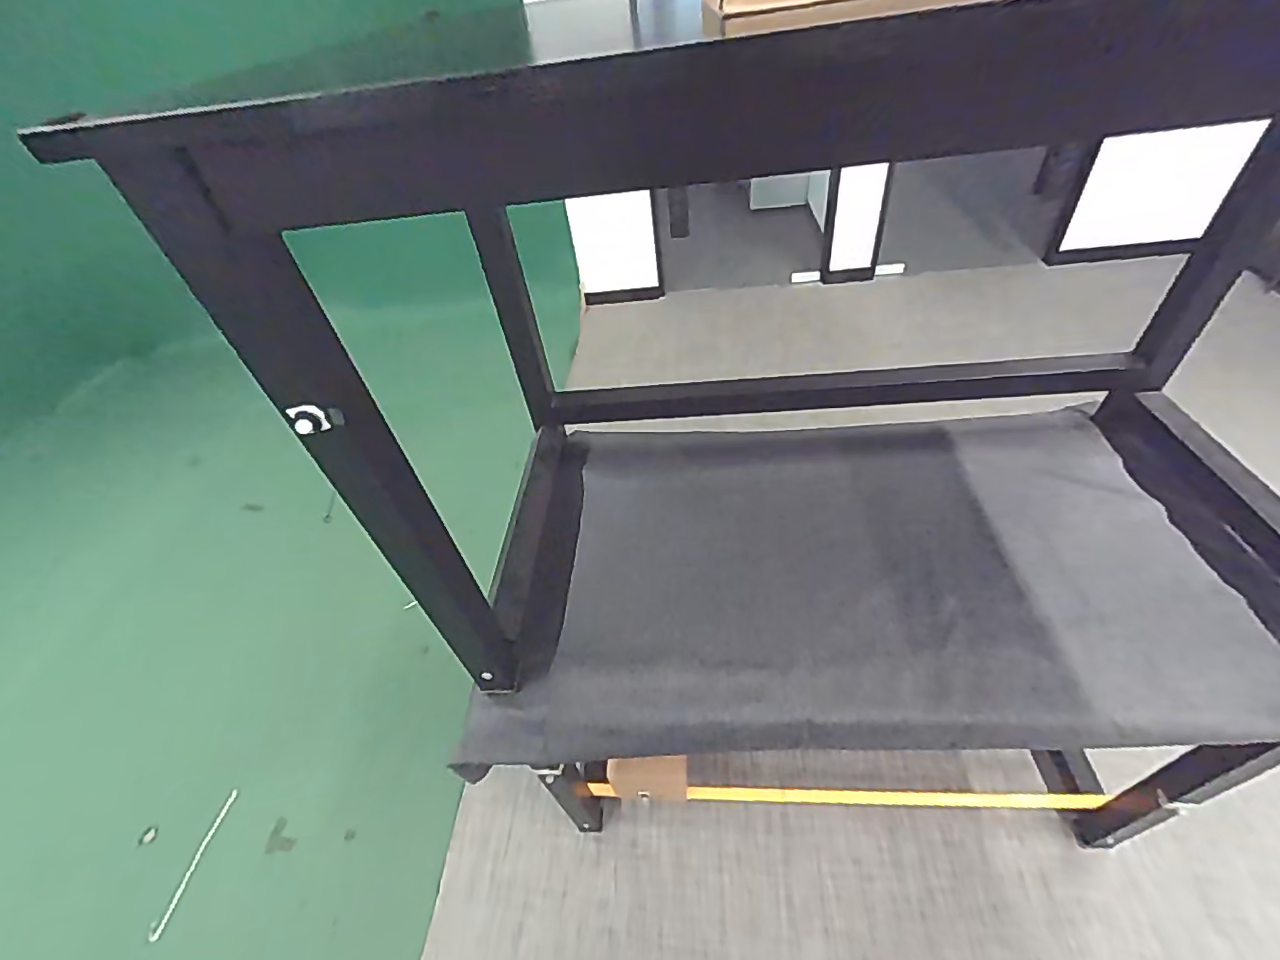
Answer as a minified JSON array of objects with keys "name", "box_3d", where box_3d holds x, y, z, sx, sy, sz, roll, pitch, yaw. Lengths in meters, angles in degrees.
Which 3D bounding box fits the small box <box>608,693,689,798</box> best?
[{"name":"small box","box_3d":[0.026,0.614,1.253,0.168,0.176,0.179,-3,46,7]}]

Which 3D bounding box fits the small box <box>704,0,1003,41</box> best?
[{"name":"small box","box_3d":[0.122,-0.377,0.315,0.168,0.176,0.179,-3,45,6]}]
